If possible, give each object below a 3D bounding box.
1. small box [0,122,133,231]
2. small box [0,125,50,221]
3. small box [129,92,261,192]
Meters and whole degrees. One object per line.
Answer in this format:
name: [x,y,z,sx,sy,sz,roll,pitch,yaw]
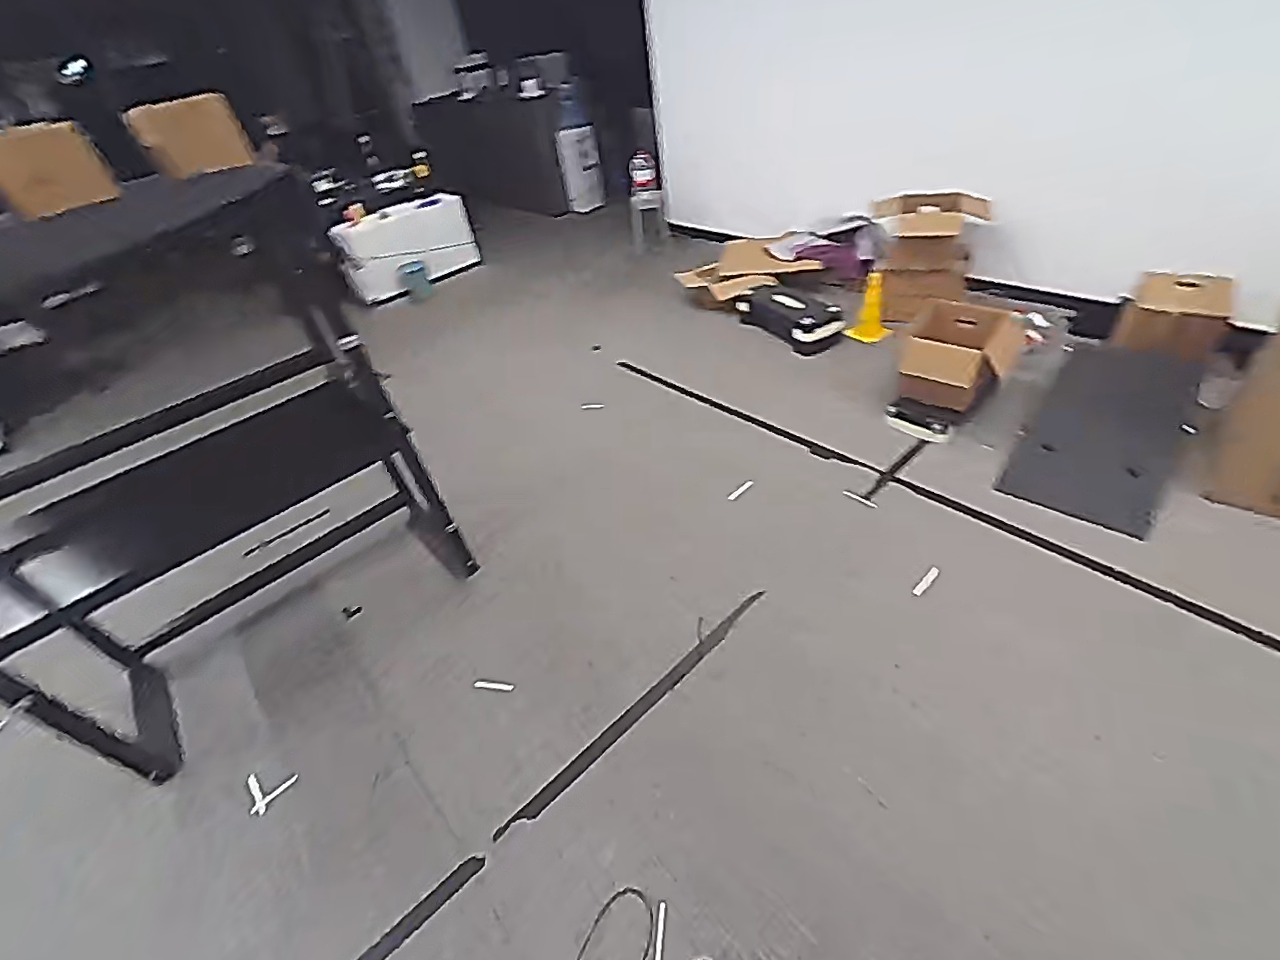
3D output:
small box: [-1.253,-0.655,1.169,0.168,0.176,0.179,-37,47,-28]
small box: [-1.476,-0.752,1.325,0.179,0.176,0.168,-35,47,-26]
small box: [-1.048,-0.798,1.285,0.179,0.176,0.168,25,52,36]
